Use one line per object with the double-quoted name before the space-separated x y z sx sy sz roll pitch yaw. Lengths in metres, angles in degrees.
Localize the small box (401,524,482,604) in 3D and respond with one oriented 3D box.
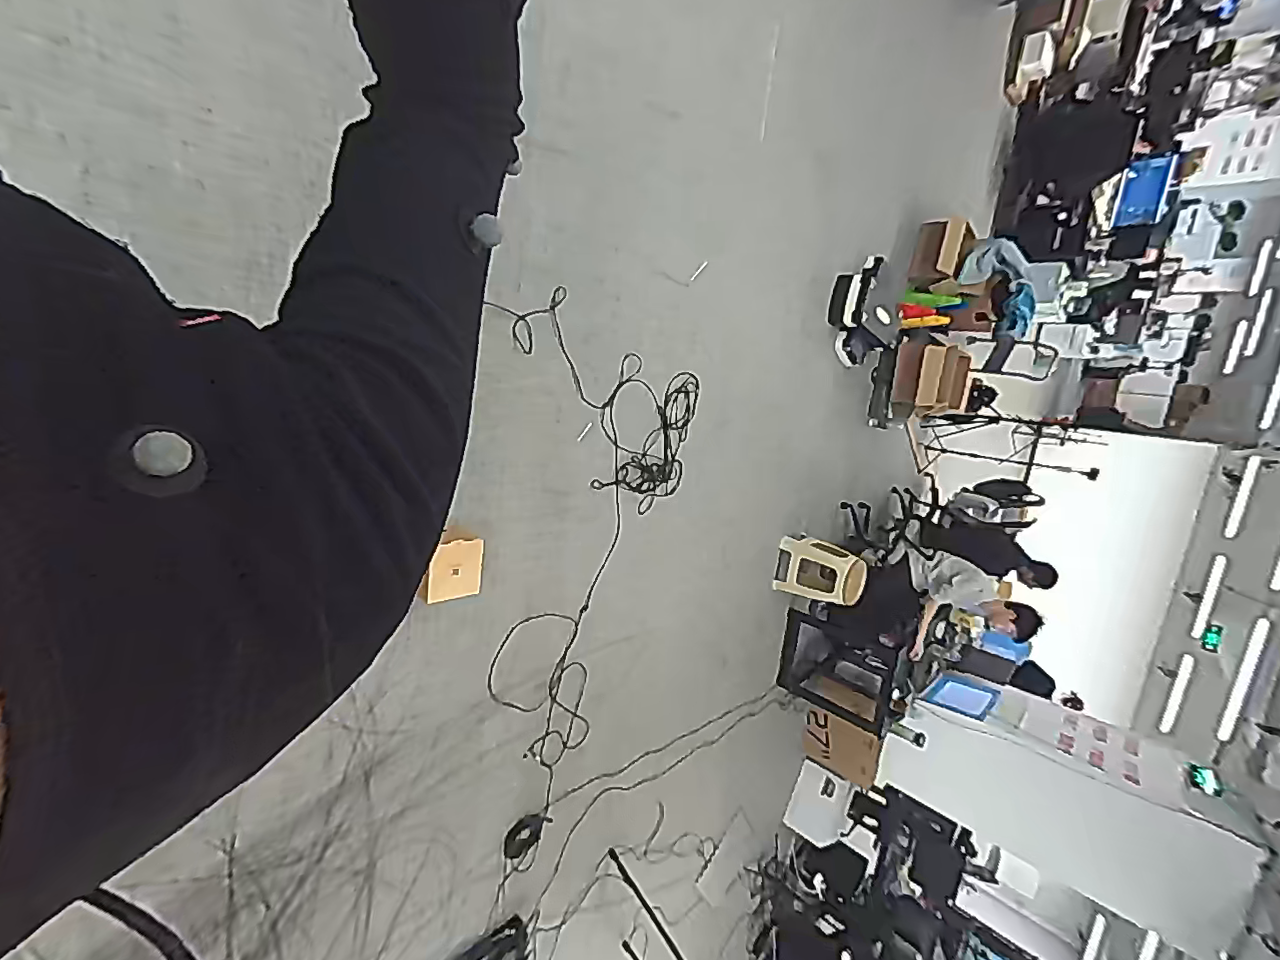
"small box" -0.585 0.239 1.584 0.168 0.176 0.179 -3 104 -48
